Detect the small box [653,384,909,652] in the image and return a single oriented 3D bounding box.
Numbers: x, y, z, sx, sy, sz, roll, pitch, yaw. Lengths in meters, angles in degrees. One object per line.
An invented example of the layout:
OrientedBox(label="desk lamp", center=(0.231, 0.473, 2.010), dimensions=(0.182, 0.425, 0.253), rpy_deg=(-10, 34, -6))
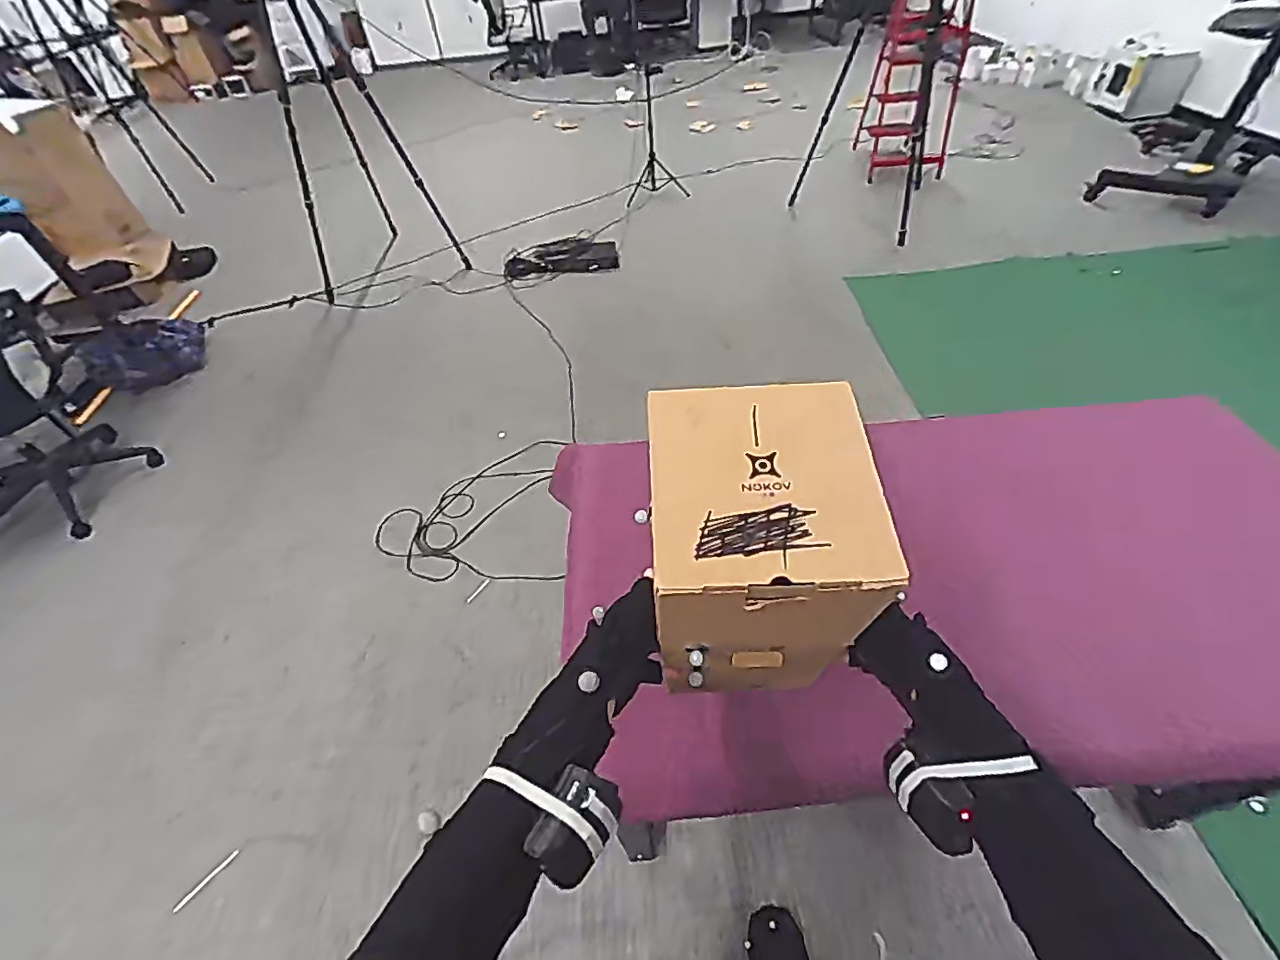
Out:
OrientedBox(label="small box", center=(0.096, 0.040, 0.457), dimensions=(0.168, 0.176, 0.179), rpy_deg=(1, 59, 2))
